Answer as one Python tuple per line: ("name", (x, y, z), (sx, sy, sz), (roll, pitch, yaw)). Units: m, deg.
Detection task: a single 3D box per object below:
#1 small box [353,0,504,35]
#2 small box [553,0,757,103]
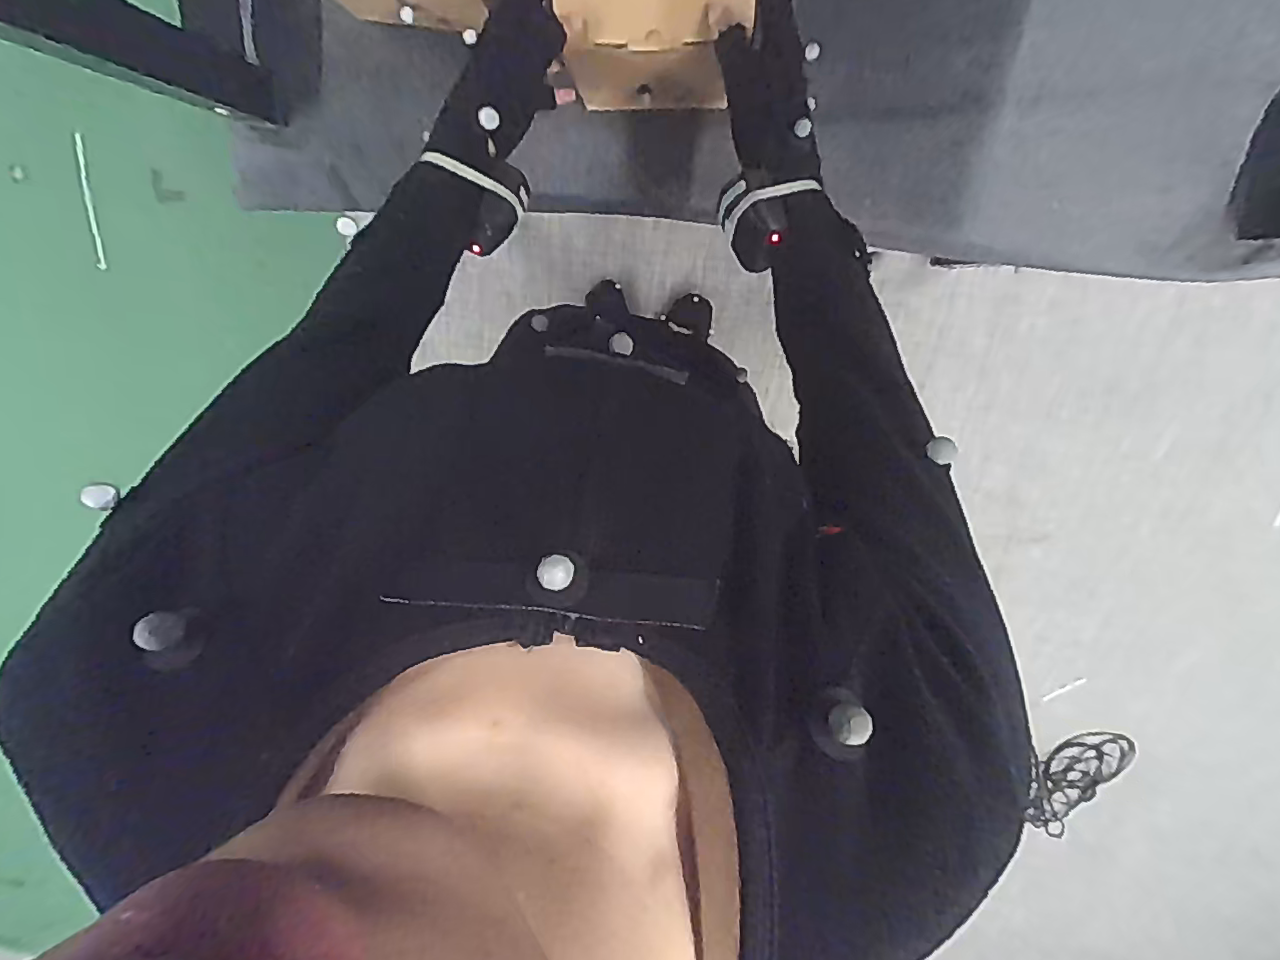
("small box", (-0.219, -0.539, 0.472), (0.168, 0.176, 0.179), (8, 110, 2))
("small box", (0.015, -0.468, 0.484), (0.168, 0.176, 0.179), (1, 110, 4))
